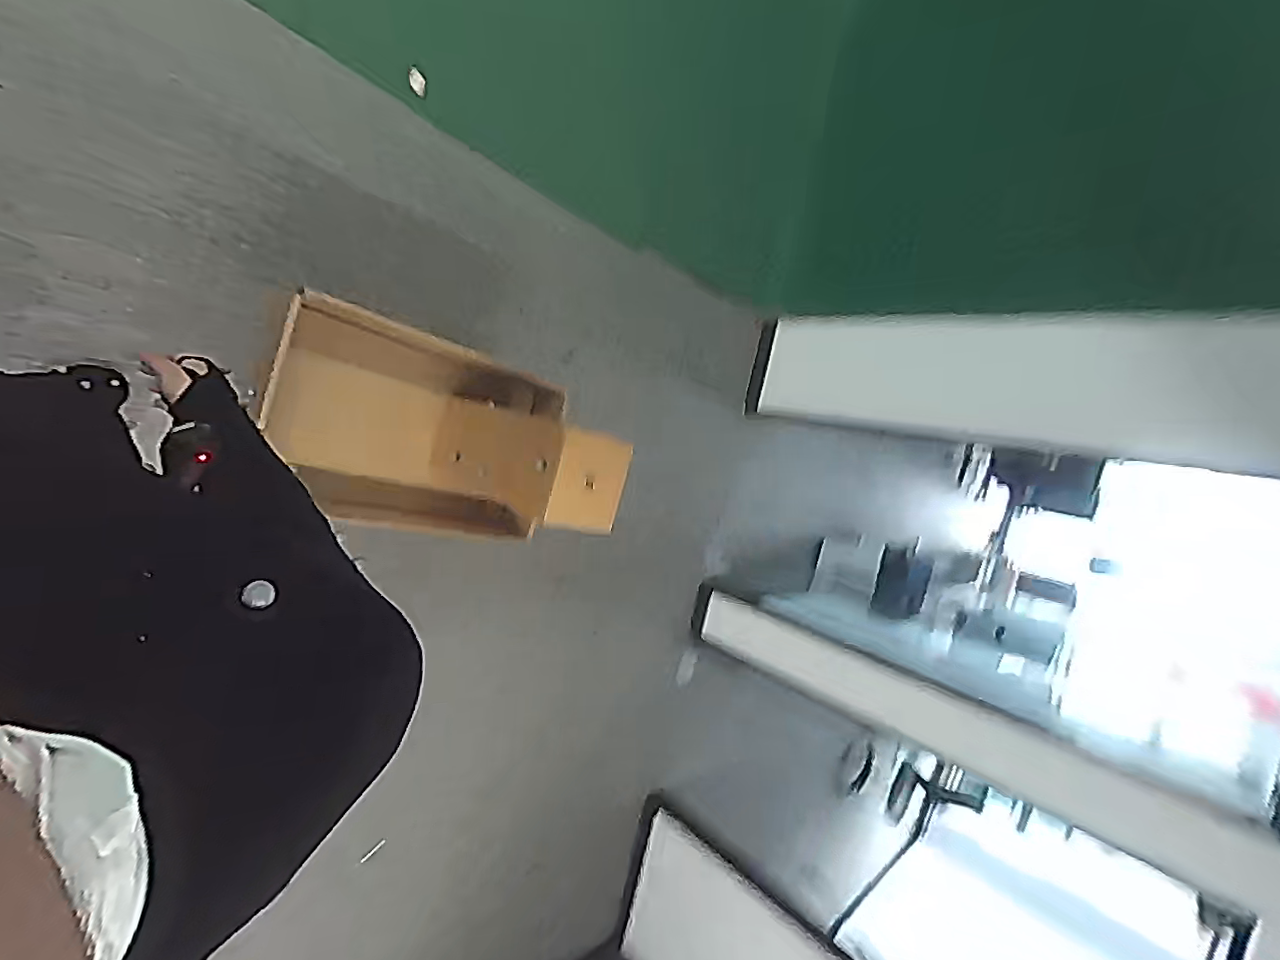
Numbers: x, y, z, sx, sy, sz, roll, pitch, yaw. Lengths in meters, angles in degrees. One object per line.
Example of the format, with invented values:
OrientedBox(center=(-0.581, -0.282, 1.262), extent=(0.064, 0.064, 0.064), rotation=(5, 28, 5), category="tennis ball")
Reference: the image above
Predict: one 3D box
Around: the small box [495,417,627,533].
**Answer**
OrientedBox(center=(-0.157, -0.010, 1.048), extent=(0.168, 0.176, 0.179), rotation=(14, 92, -47), category="small box")
